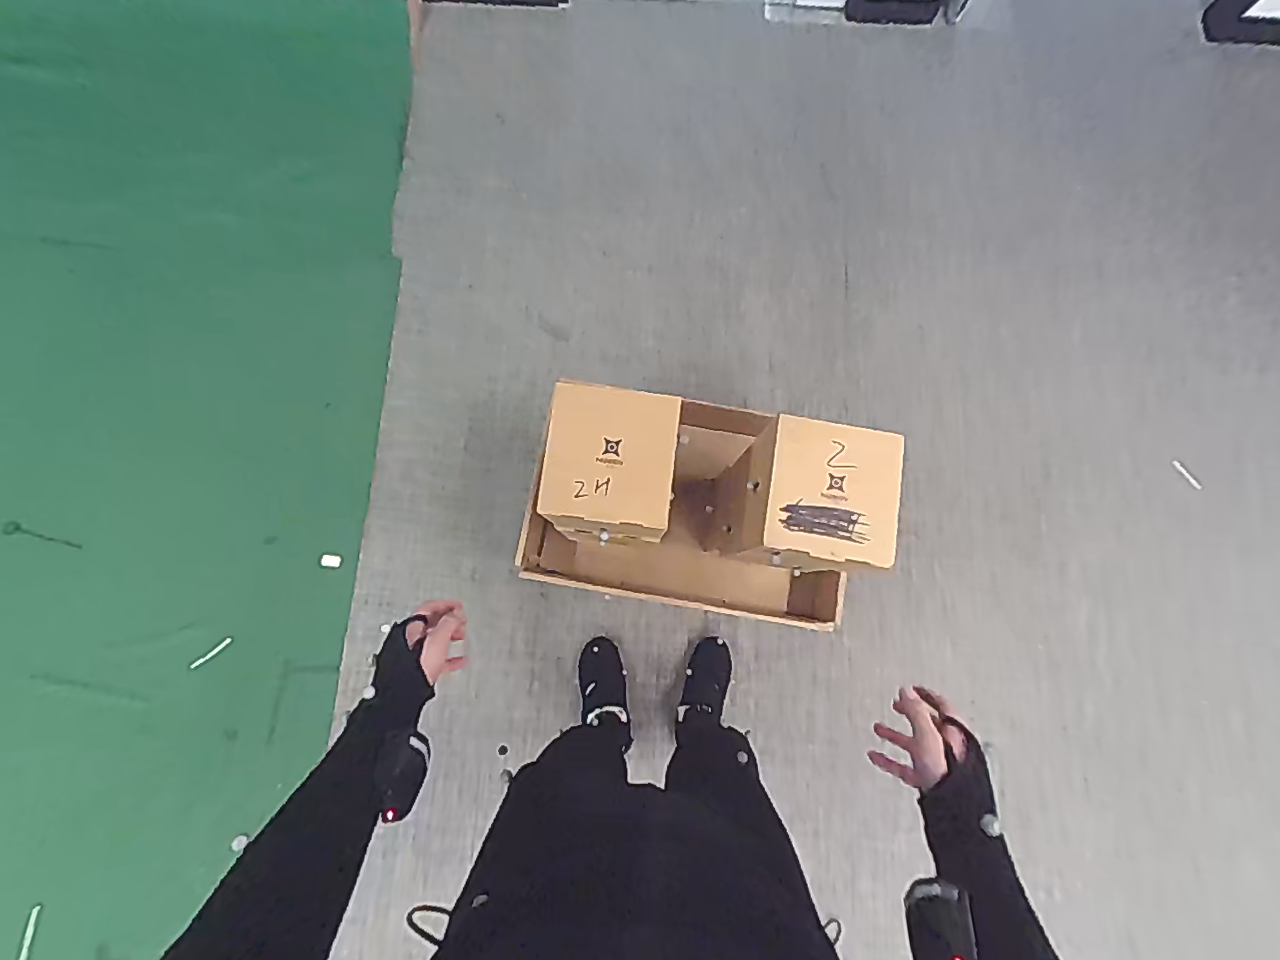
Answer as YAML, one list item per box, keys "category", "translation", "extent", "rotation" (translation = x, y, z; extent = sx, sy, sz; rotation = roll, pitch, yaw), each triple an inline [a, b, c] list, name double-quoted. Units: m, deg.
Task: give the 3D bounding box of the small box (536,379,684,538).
- category: "small box"
  translation: [-0.038, -0.021, 0.754]
  extent: [0.168, 0.176, 0.179]
  rotation: [8, 80, 1]

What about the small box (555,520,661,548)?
- category: "small box"
  translation: [-0.040, 0.014, 0.915]
  extent: [0.168, 0.176, 0.179]
  rotation: [7, 80, 1]

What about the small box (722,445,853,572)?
- category: "small box"
  translation: [0.238, 0.057, 0.909]
  extent: [0.168, 0.176, 0.179]
  rotation: [10, 79, 1]
